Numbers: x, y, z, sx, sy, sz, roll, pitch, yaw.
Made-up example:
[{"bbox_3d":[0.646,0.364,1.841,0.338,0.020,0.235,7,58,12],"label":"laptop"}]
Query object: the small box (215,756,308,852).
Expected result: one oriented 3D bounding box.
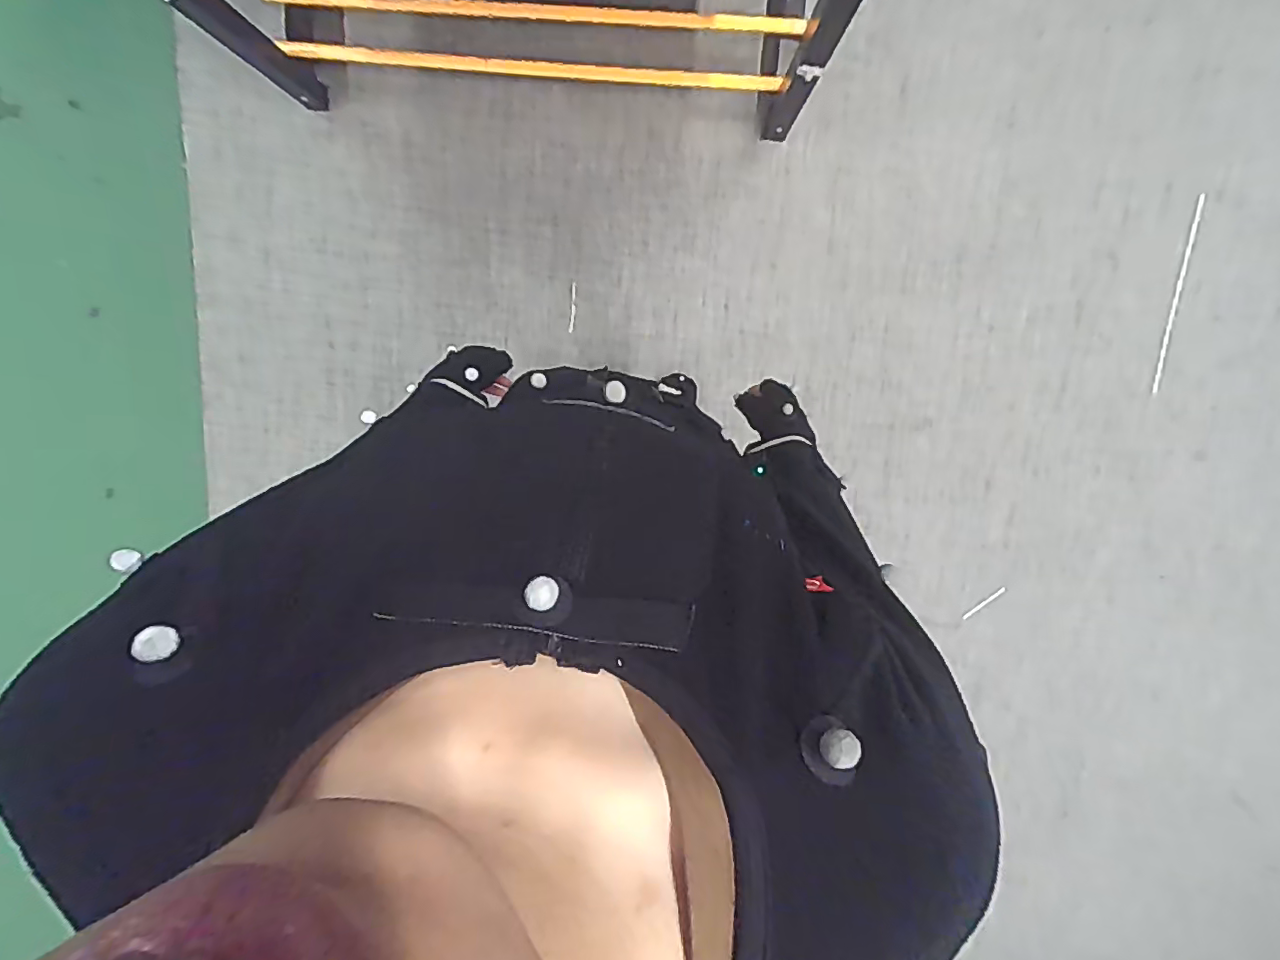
[{"bbox_3d":[-1.117,0.957,1.608,0.168,0.176,0.179,7,102,0],"label":"small box"}]
